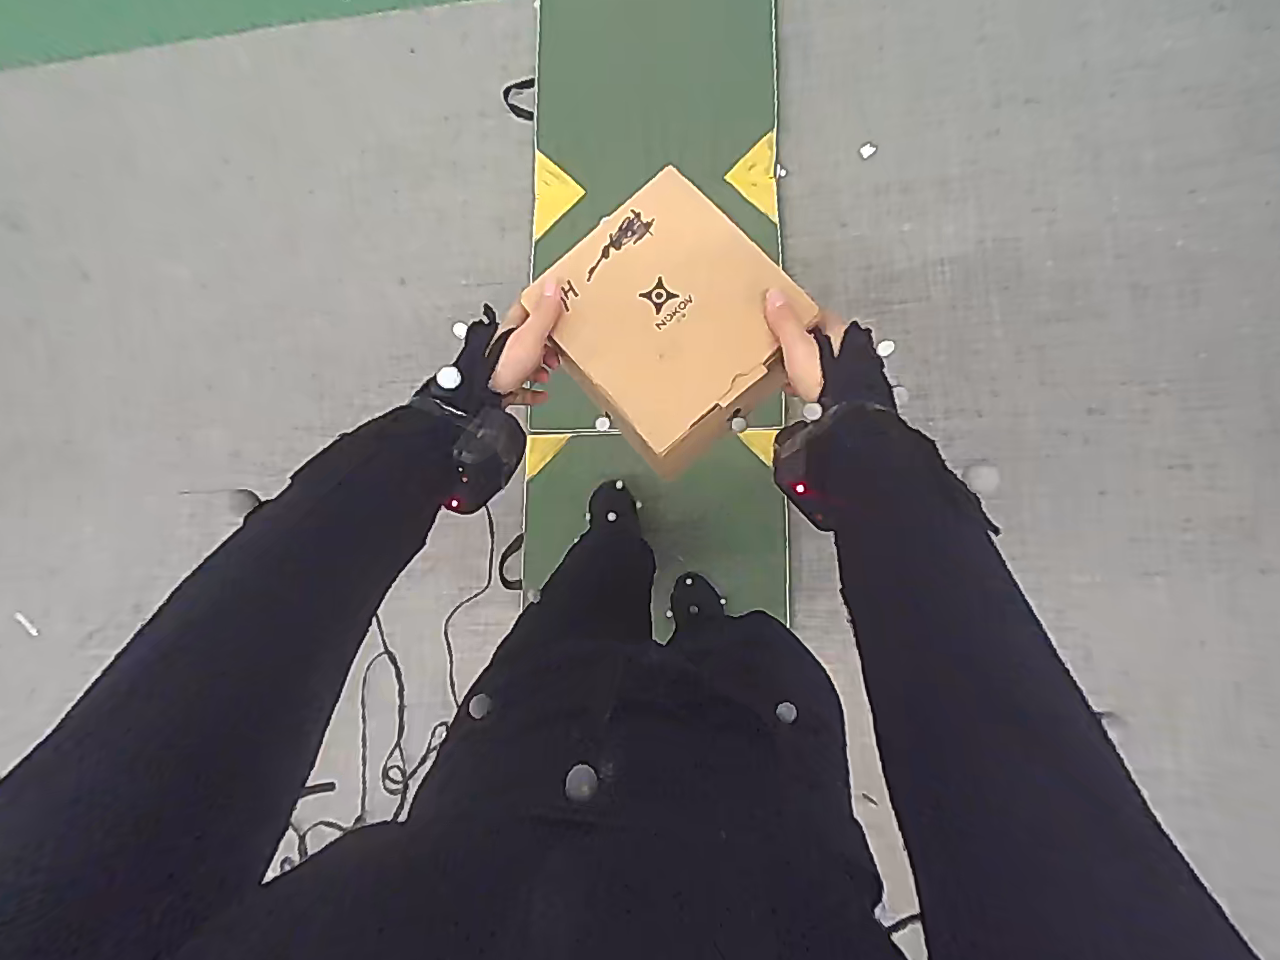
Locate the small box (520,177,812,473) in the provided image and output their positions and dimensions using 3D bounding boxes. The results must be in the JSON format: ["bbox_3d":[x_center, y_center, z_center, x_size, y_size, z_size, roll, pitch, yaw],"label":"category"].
[{"bbox_3d":[0.025,-0.121,0.503,0.168,0.176,0.179,-41,81,-2],"label":"small box"}]
